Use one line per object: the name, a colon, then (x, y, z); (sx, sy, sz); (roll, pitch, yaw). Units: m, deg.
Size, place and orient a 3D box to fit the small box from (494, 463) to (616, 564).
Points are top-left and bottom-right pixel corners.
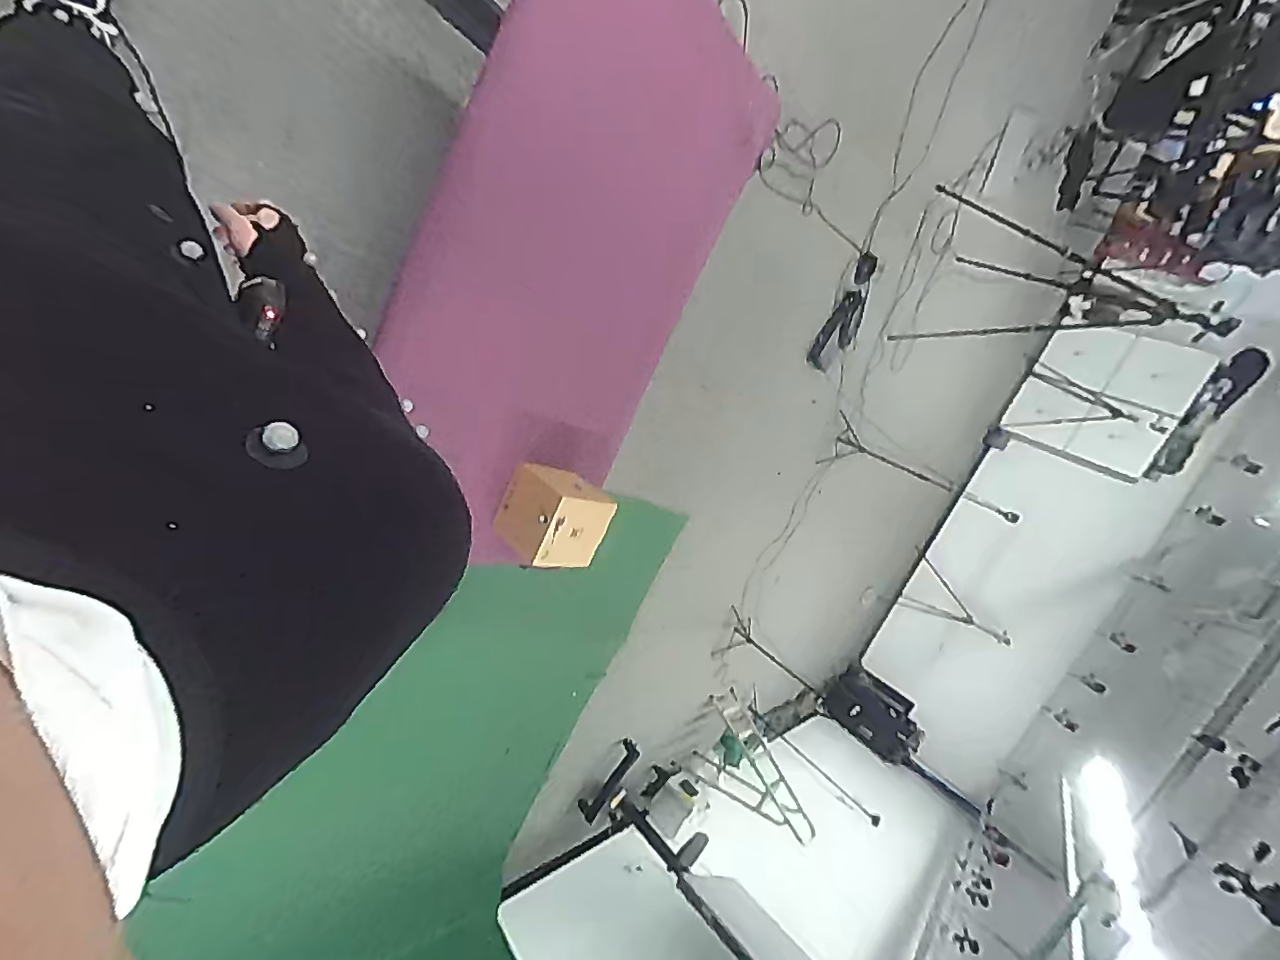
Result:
small box: (-0.192, 0.074, 1.213); (0.179, 0.176, 0.168); (12, 107, -52)
